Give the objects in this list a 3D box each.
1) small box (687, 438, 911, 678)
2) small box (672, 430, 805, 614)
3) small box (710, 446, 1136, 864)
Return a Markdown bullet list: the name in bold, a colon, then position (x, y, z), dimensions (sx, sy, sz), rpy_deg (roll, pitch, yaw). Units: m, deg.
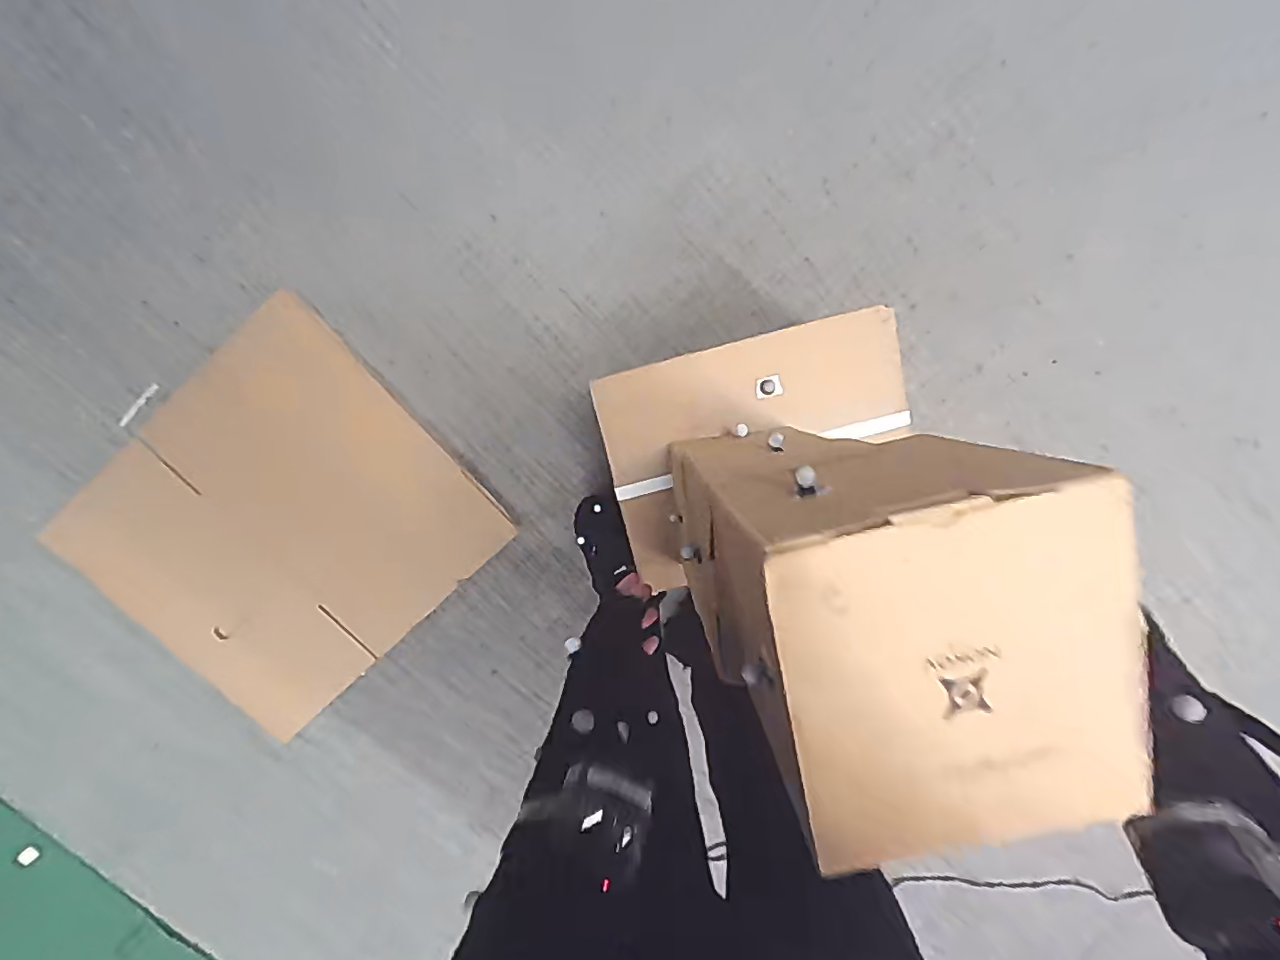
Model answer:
- **small box**: position (0.140, 0.056, 0.498), dimensions (0.179, 0.176, 0.168), rpy_deg (-9, 98, 0)
- **small box**: position (0.133, 0.041, 0.659), dimensions (0.168, 0.176, 0.179), rpy_deg (-8, 100, 0)
- **small box**: position (0.146, 0.080, 0.334), dimensions (0.168, 0.176, 0.179), rpy_deg (-12, 100, 2)
